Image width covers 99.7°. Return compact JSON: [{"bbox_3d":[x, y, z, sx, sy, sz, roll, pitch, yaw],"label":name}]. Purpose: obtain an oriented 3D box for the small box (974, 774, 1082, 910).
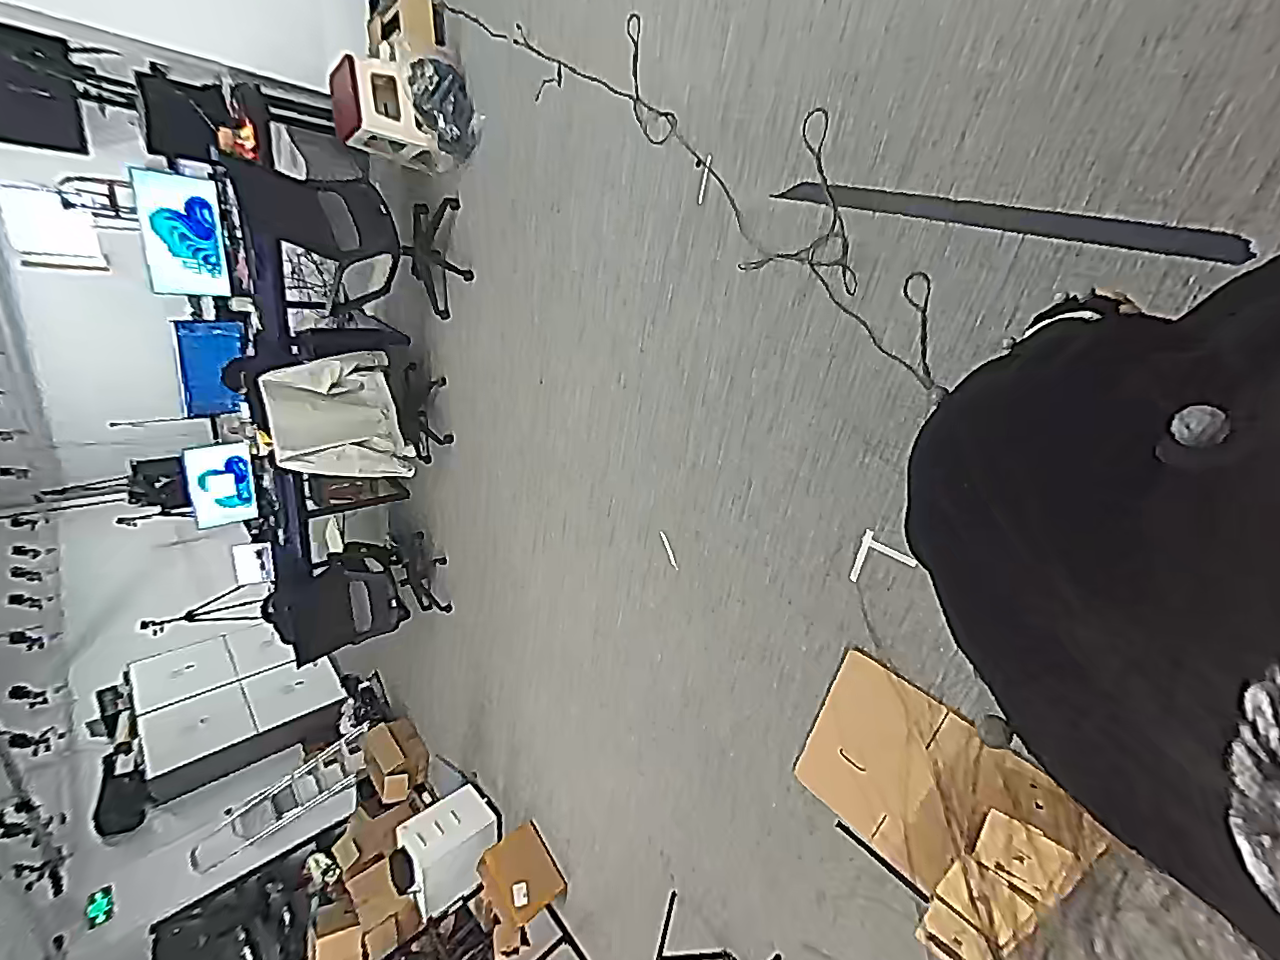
[{"bbox_3d":[0.943,0.863,1.311,0.168,0.176,0.179,21,115,41],"label":"small box"}]
